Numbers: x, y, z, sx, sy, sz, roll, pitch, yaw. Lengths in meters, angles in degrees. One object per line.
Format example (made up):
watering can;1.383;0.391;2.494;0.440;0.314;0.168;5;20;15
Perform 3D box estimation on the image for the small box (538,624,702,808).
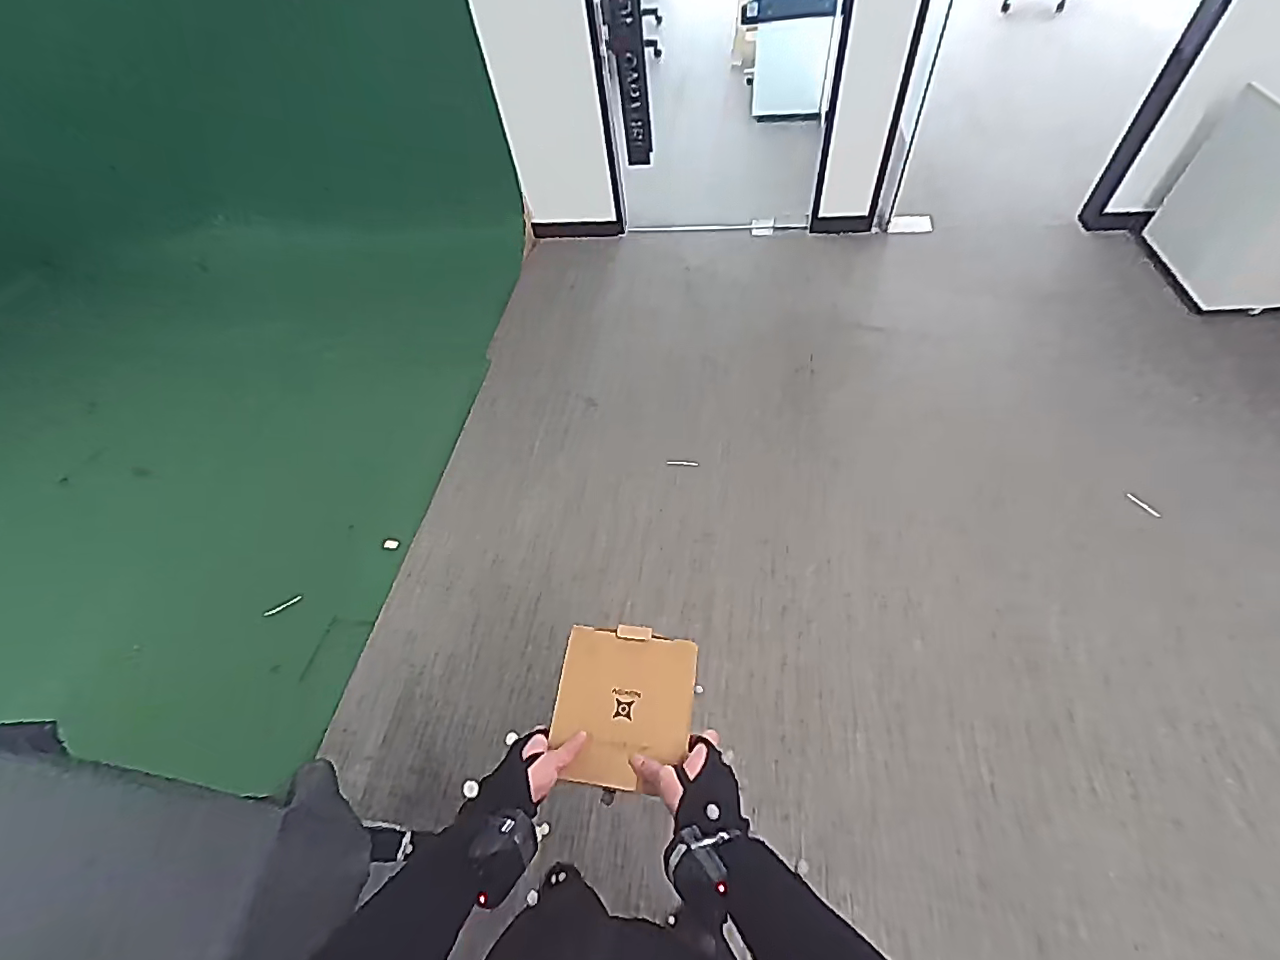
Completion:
small box;-0.016;0.307;0.698;0.168;0.176;0.179;8;60;8
